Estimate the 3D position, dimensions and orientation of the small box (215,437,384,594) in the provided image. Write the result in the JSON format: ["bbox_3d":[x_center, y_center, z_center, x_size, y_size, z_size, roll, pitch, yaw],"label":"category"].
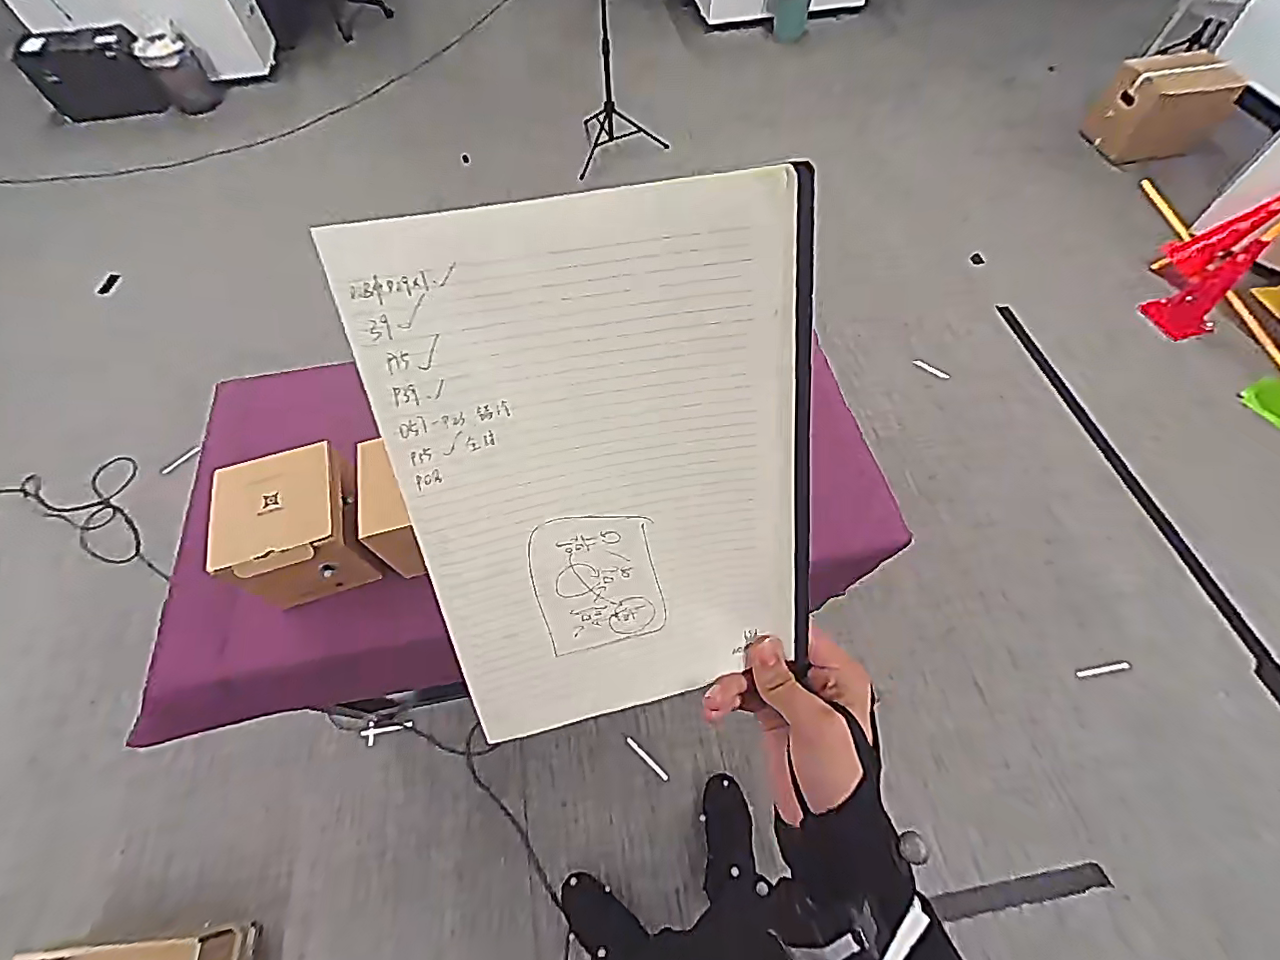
[{"bbox_3d":[-0.521,0.065,0.850,0.168,0.176,0.179,-16,61,-8],"label":"small box"}]
